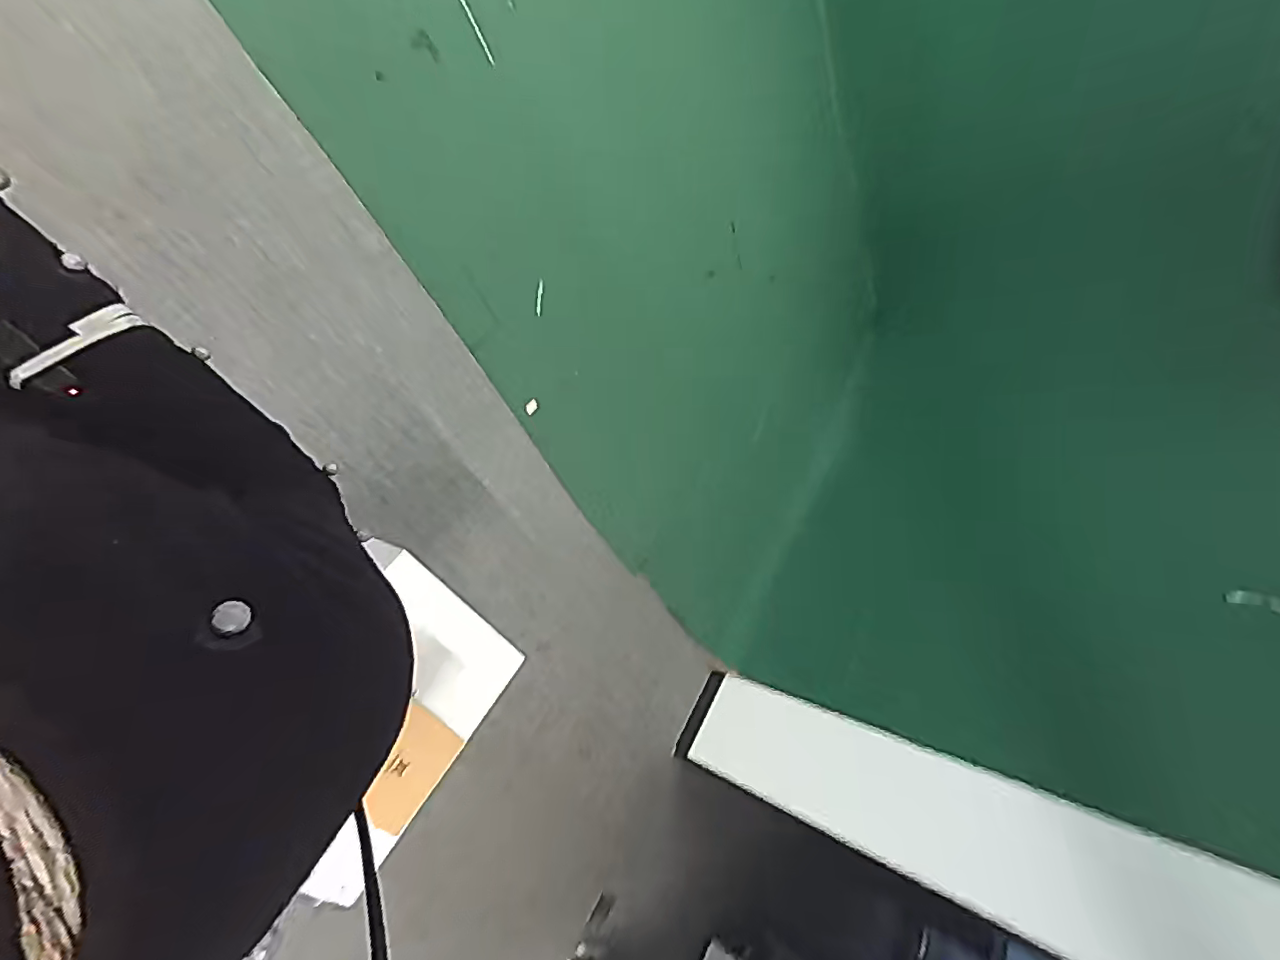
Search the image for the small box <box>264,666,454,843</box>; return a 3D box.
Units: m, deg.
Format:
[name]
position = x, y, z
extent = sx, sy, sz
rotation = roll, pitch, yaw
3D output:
[small box]
position = -0.442, 0.425, 0.858
extent = 0.168, 0.176, 0.179
rotation = -53, 133, -30
